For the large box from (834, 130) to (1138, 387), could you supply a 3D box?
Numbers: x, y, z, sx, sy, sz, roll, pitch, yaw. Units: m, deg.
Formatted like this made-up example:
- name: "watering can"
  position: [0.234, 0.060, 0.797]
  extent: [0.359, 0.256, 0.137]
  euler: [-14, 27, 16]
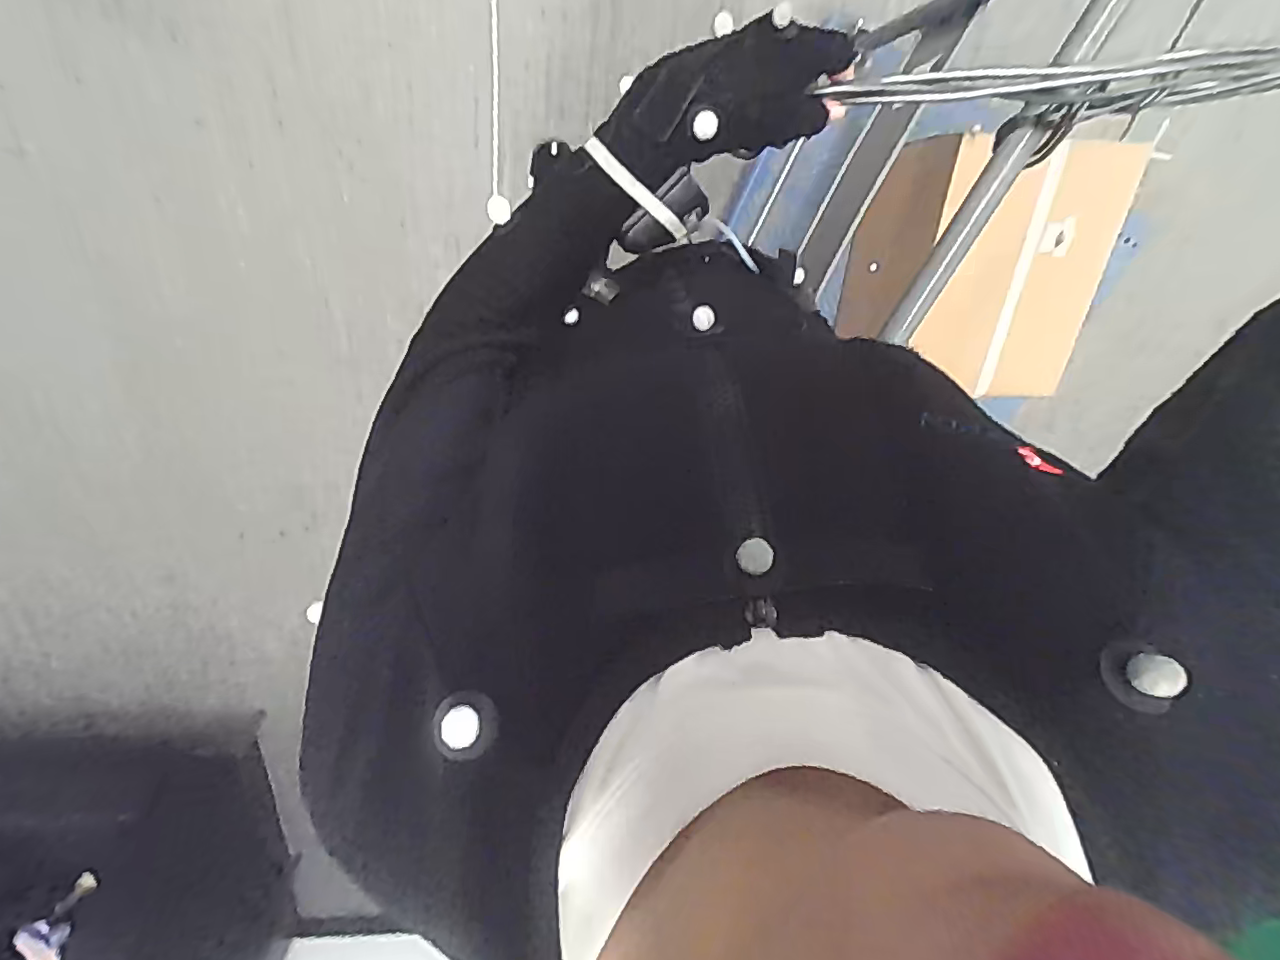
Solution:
- name: "large box"
  position: [0.612, -0.415, 1.050]
  extent: [0.320, 0.320, 0.408]
  euler: [0, 116, -6]
